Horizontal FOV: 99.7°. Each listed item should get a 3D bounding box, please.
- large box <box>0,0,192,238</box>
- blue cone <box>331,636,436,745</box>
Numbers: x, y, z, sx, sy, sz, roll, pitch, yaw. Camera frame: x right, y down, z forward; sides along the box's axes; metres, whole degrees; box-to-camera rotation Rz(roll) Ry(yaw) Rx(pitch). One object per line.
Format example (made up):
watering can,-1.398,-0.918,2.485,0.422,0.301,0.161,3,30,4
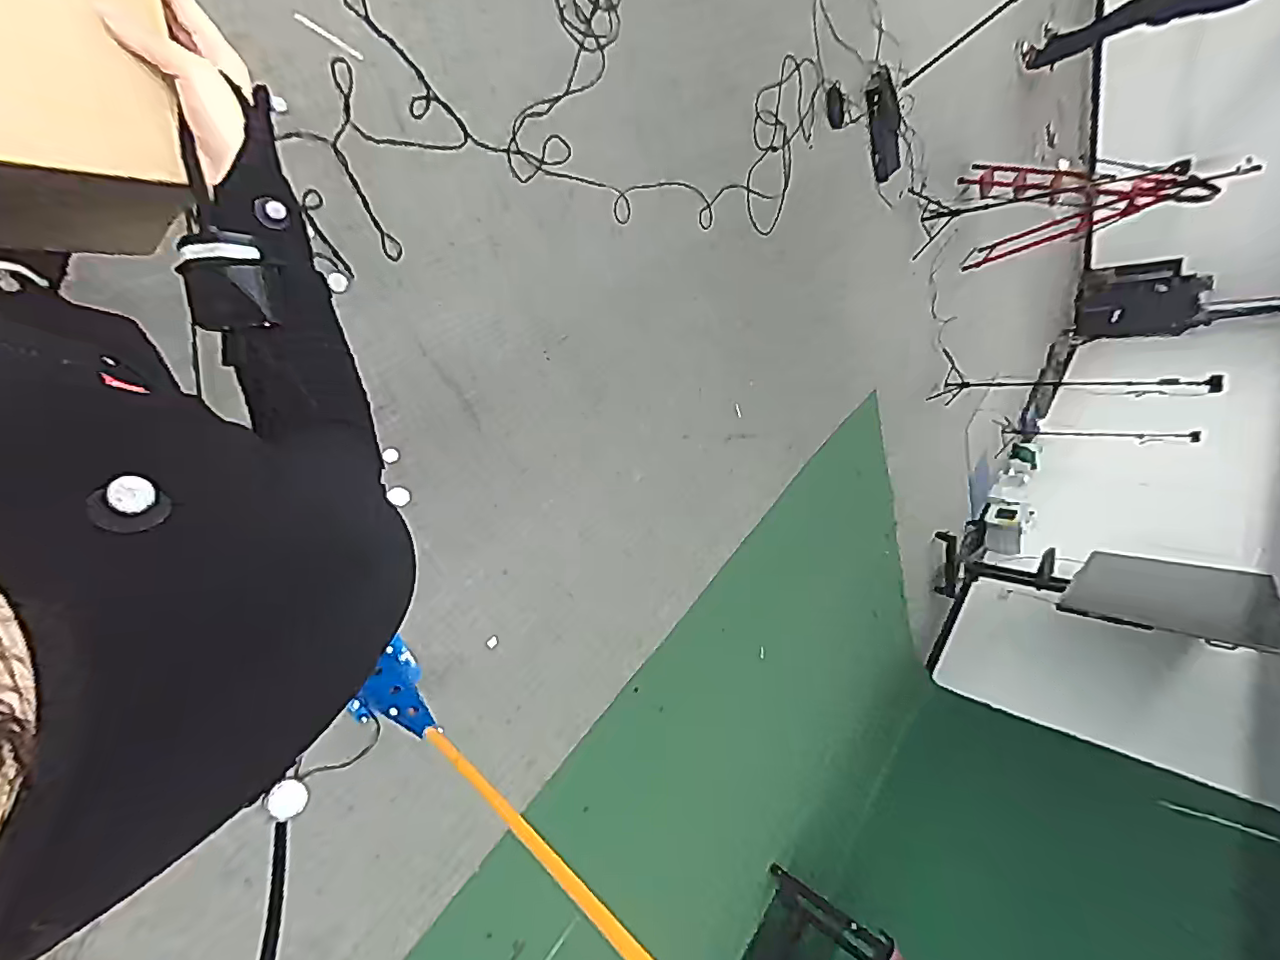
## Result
large box,-0.582,-0.346,0.317,0.408,0.320,0.320,-19,111,-46
blue cone,-0.624,0.570,1.389,0.193,0.380,0.192,-35,121,-36
